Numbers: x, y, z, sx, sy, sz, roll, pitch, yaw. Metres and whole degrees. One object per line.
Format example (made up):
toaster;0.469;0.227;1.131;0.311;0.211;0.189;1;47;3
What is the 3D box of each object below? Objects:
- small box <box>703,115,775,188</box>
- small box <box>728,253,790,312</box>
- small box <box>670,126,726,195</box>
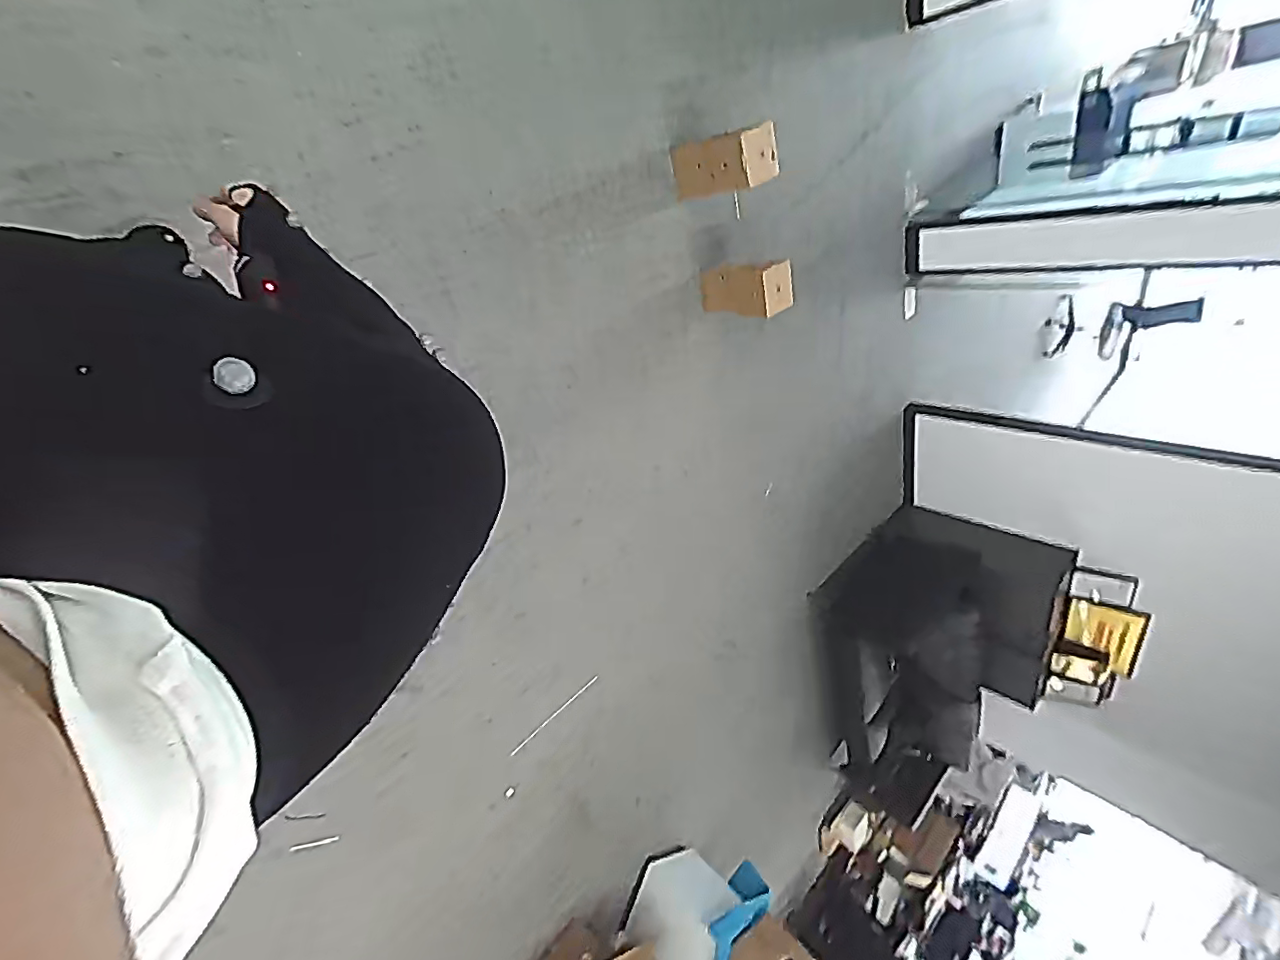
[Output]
small box;0.336;-1.127;1.862;0.179;0.176;0.168;-38;128;-26
small box;0.460;-0.767;2.101;0.168;0.176;0.179;-34;126;-29
small box;0.229;-1.165;1.980;0.168;0.176;0.179;-36;127;-28
